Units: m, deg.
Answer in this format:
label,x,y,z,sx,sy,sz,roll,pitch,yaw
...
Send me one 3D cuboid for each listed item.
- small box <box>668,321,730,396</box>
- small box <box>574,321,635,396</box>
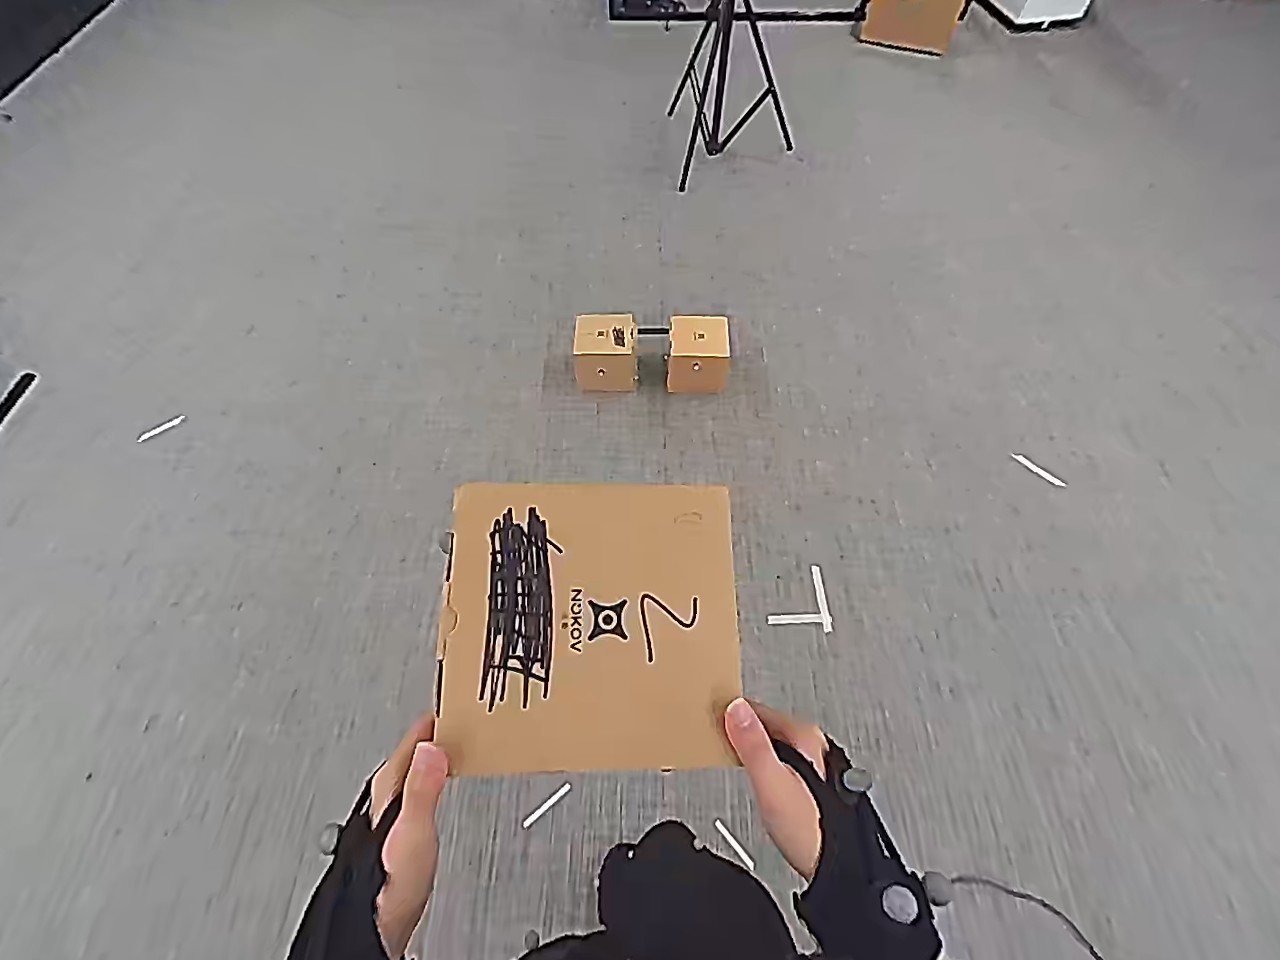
label,x,y,z,sx,sy,sz,roll,pitch,yaw
small box,0.179,-0.376,1.692,0.179,0.176,0.168,1,60,2
small box,-0.104,-0.378,1.693,0.179,0.176,0.168,0,59,2
